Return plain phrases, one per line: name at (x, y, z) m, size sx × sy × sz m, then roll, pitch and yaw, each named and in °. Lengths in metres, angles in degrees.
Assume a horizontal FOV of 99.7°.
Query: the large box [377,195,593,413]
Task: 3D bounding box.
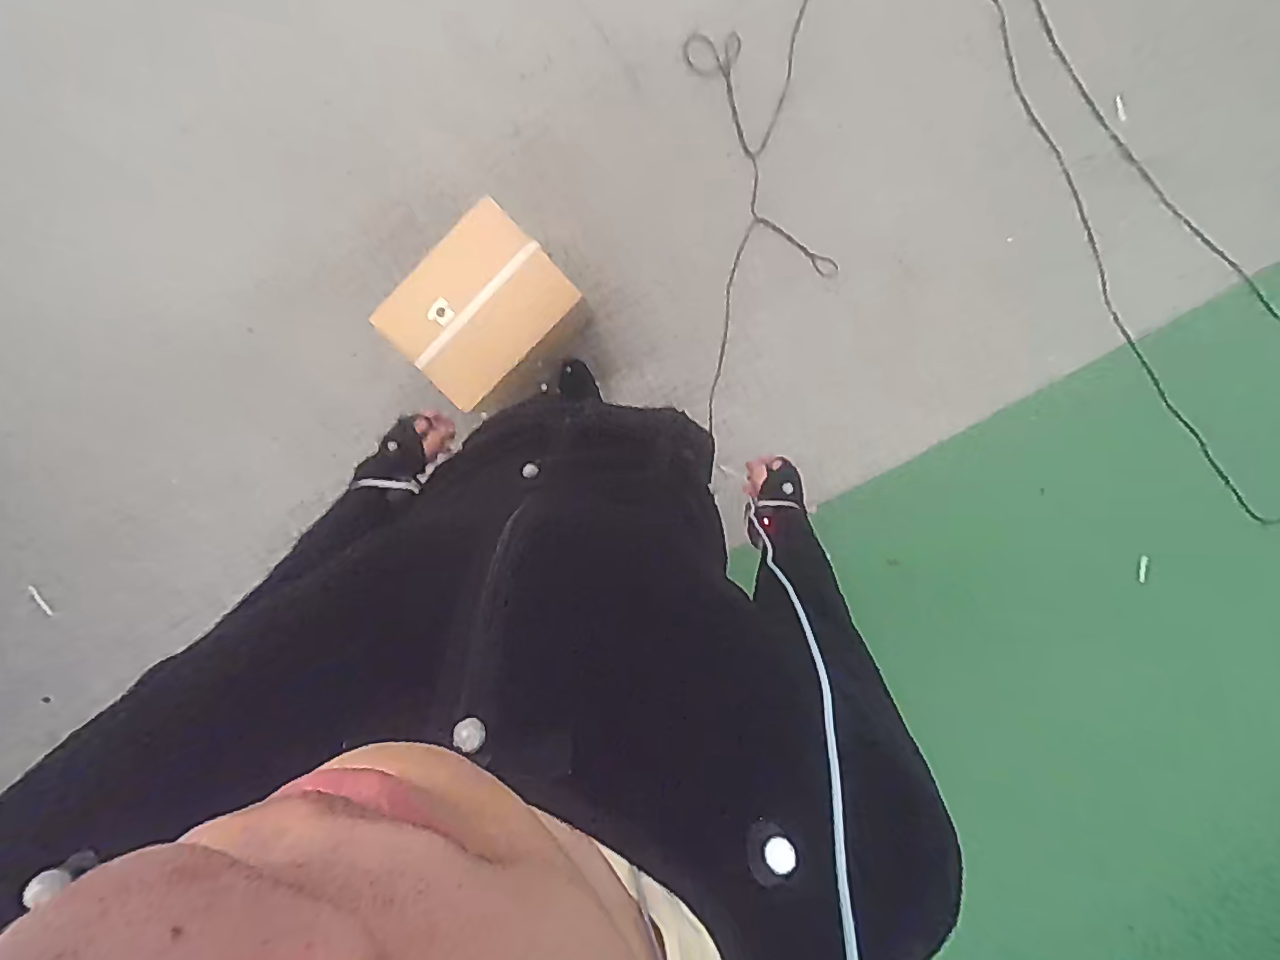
large box at (-0.374, -0.431, 1.405) m, size 0.408 × 0.320 × 0.320 m, roll -43°, pitch 97°, yaw 7°
